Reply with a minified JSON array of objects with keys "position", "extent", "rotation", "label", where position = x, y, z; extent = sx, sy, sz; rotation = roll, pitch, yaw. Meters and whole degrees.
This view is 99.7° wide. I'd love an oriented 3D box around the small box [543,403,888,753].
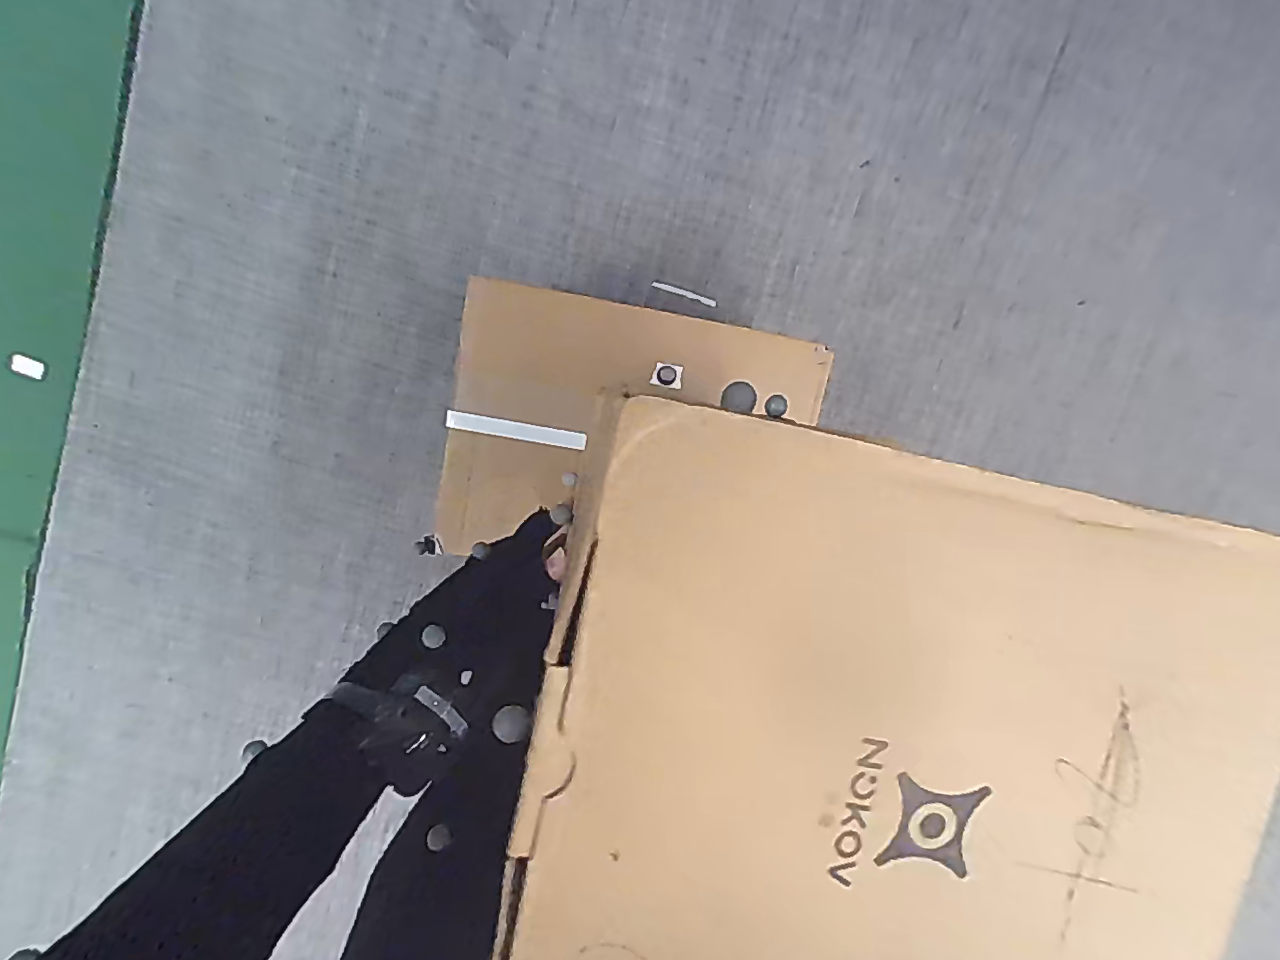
[{"position":[0.037,0.051,0.377],"extent":[0.168,0.176,0.179],"rotation":[10,94,-5],"label":"small box"}]
